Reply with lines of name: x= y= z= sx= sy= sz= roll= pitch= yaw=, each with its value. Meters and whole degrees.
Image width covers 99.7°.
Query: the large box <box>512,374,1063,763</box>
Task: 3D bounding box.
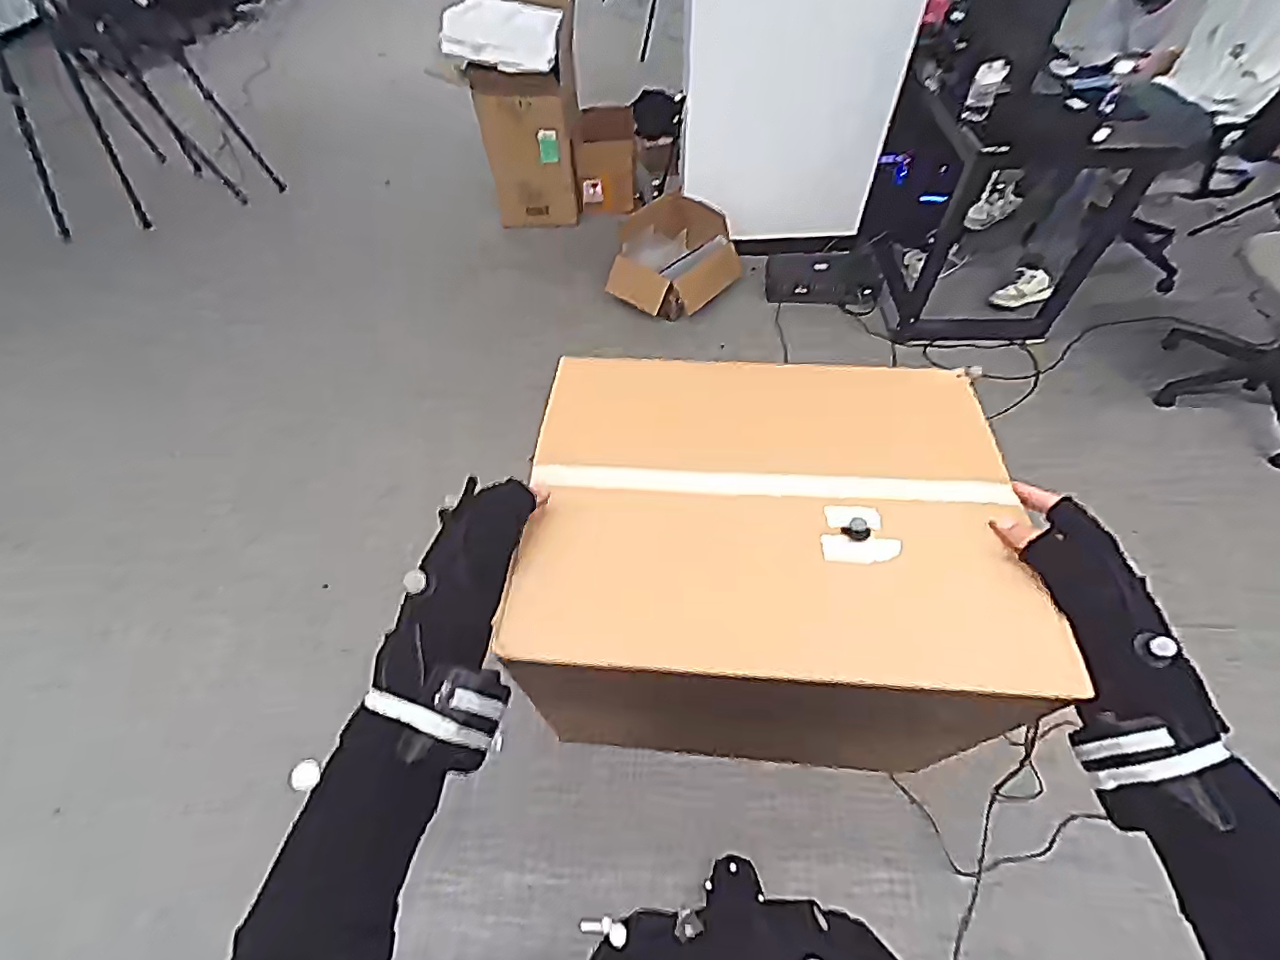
large box: x=0.112 y=0.104 z=0.595 sx=0.408 sy=0.320 sz=0.320 roll=3 pitch=54 yaw=4
